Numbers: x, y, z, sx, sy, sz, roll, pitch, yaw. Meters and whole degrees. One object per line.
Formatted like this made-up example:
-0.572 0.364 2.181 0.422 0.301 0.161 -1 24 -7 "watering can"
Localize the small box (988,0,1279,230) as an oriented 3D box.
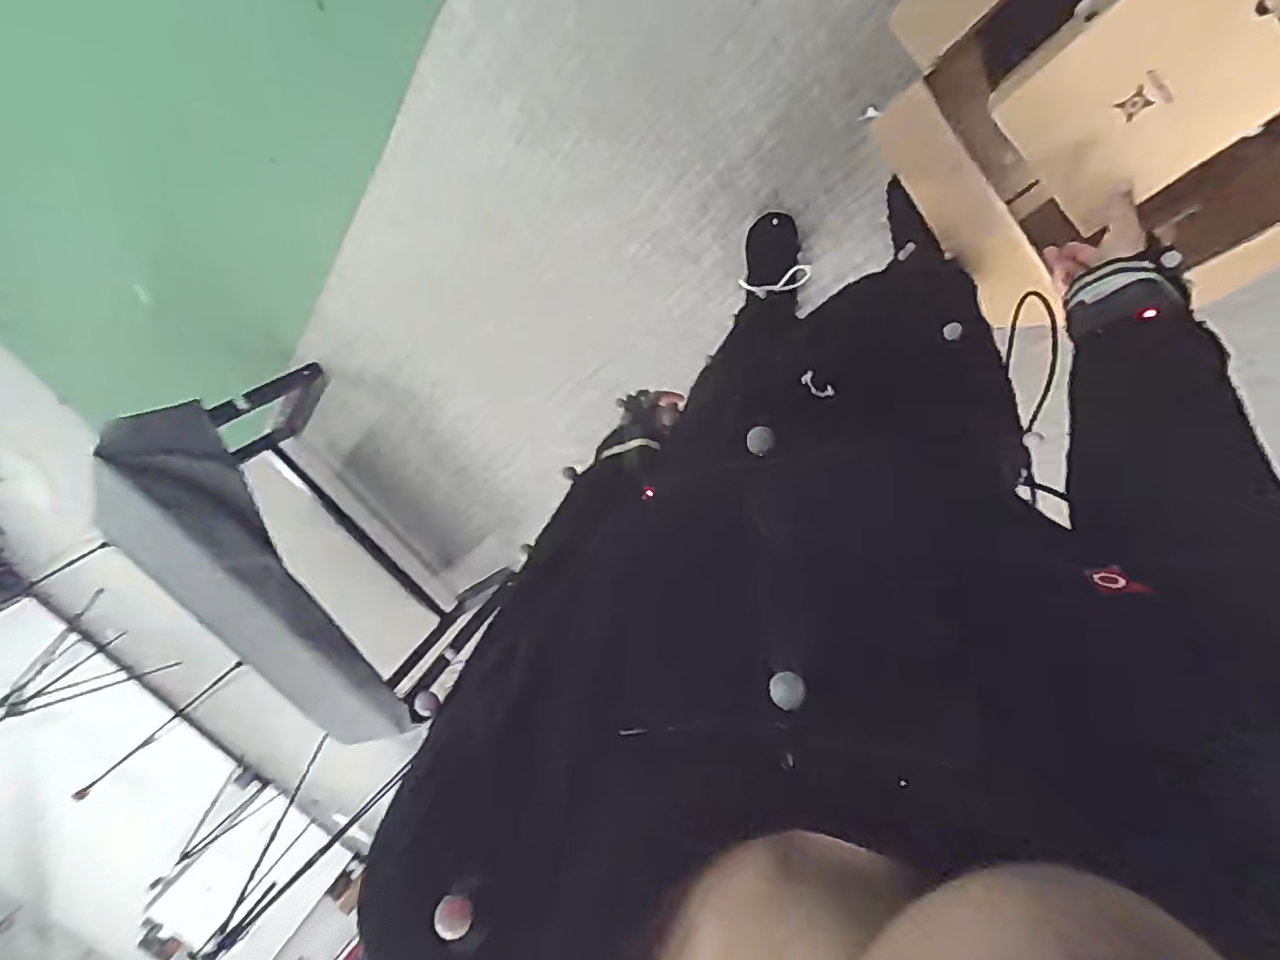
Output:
0.486 -0.393 0.544 0.168 0.176 0.179 45 134 -7 "small box"
